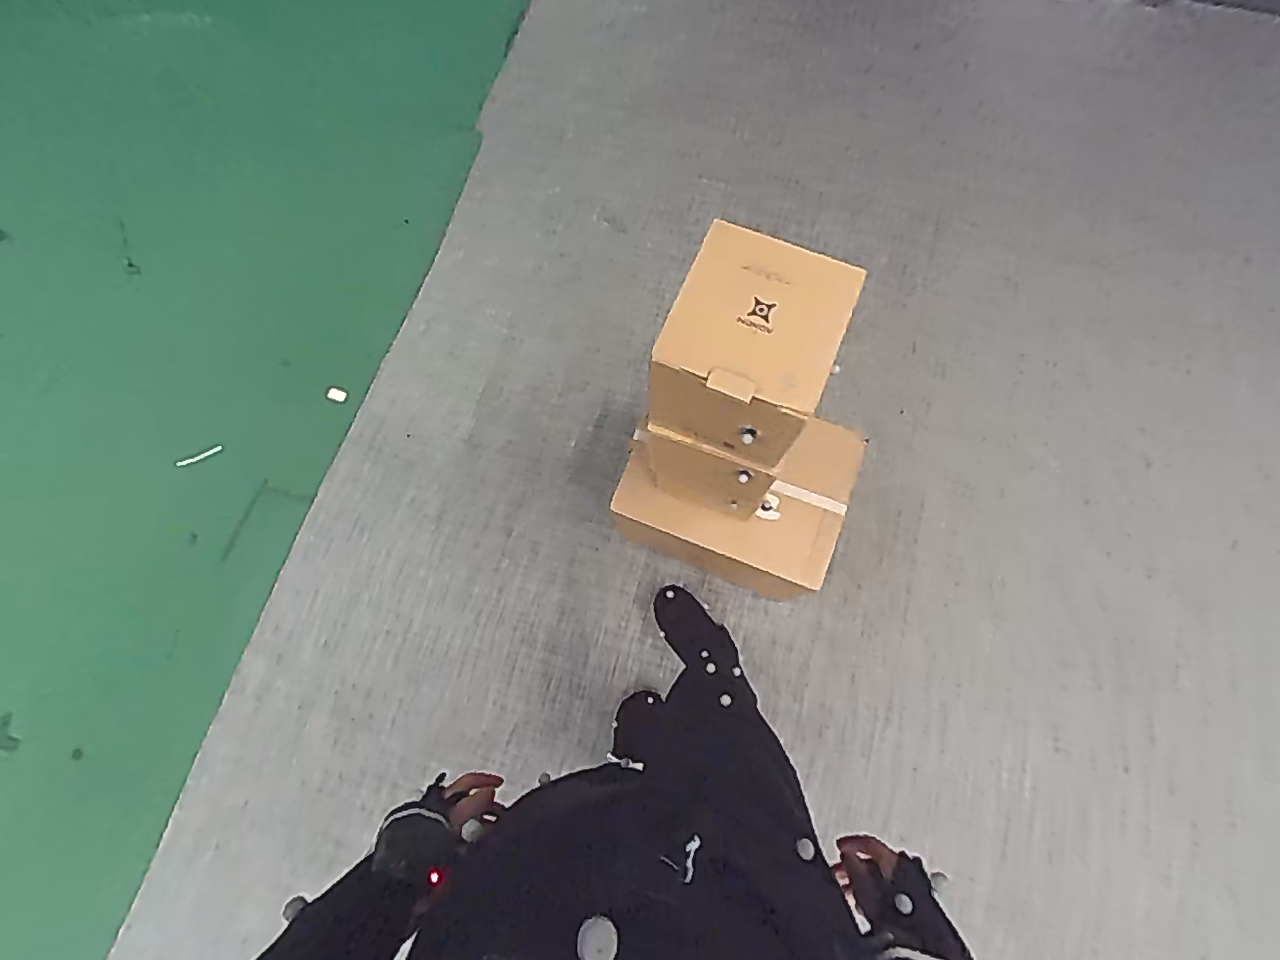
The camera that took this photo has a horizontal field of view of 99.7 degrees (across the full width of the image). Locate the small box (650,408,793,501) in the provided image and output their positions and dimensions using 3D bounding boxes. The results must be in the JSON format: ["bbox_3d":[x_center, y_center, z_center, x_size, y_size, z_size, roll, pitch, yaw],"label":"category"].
[{"bbox_3d":[0.122,-0.084,0.758,0.179,0.176,0.168,19,76,6],"label":"small box"}]

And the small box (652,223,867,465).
[{"bbox_3d":[0.121,-0.138,0.605,0.168,0.176,0.179,22,75,6],"label":"small box"}]

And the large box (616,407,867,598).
[{"bbox_3d":[0.192,0.028,1.147,0.408,0.320,0.320,21,77,7],"label":"large box"}]
